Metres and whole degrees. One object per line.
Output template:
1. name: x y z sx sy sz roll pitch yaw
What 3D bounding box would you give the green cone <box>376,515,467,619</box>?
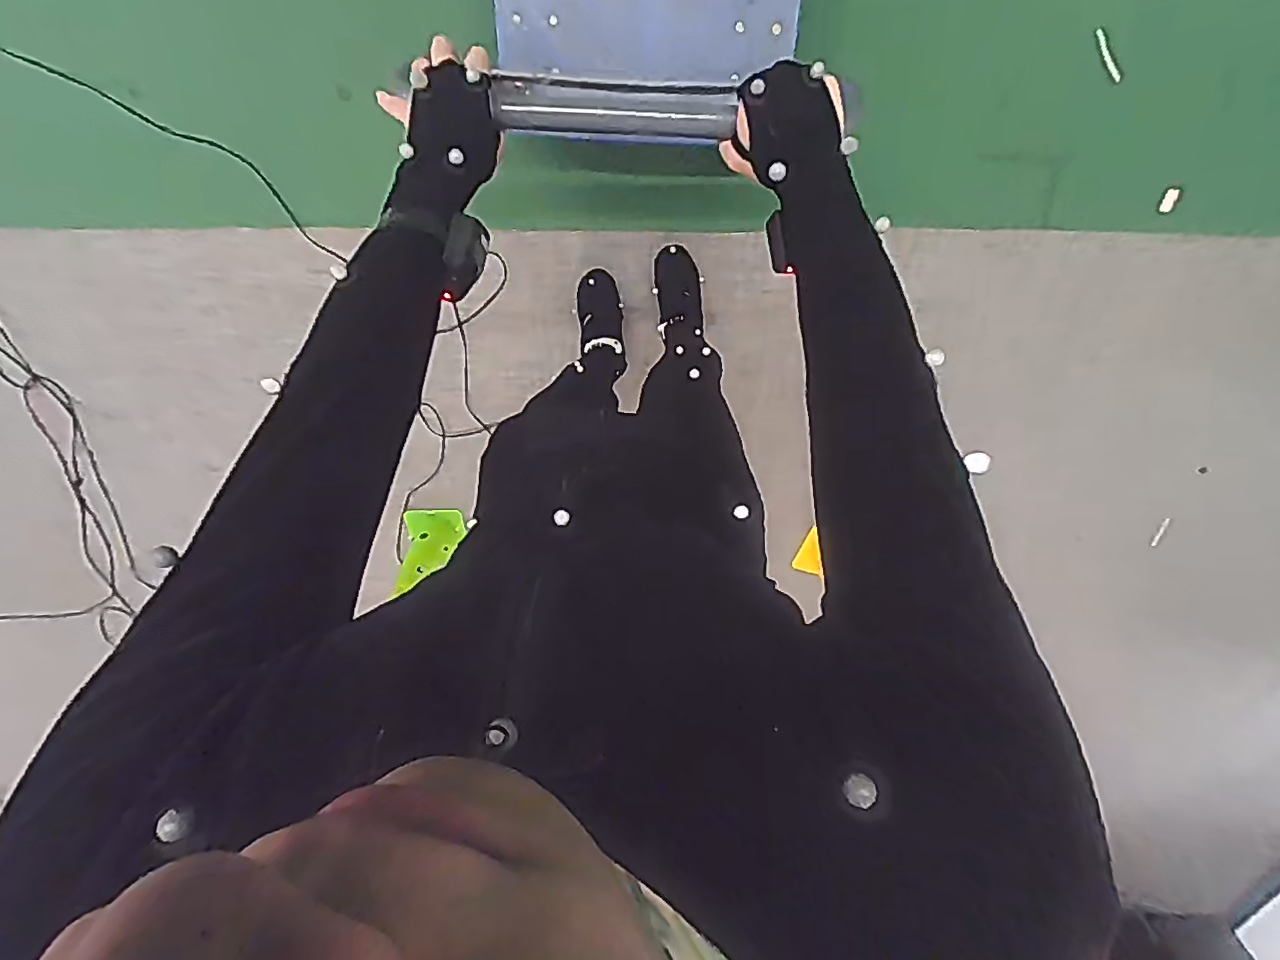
1. green cone: -0.709 0.286 1.675 0.202 0.368 0.200 -1 119 5
